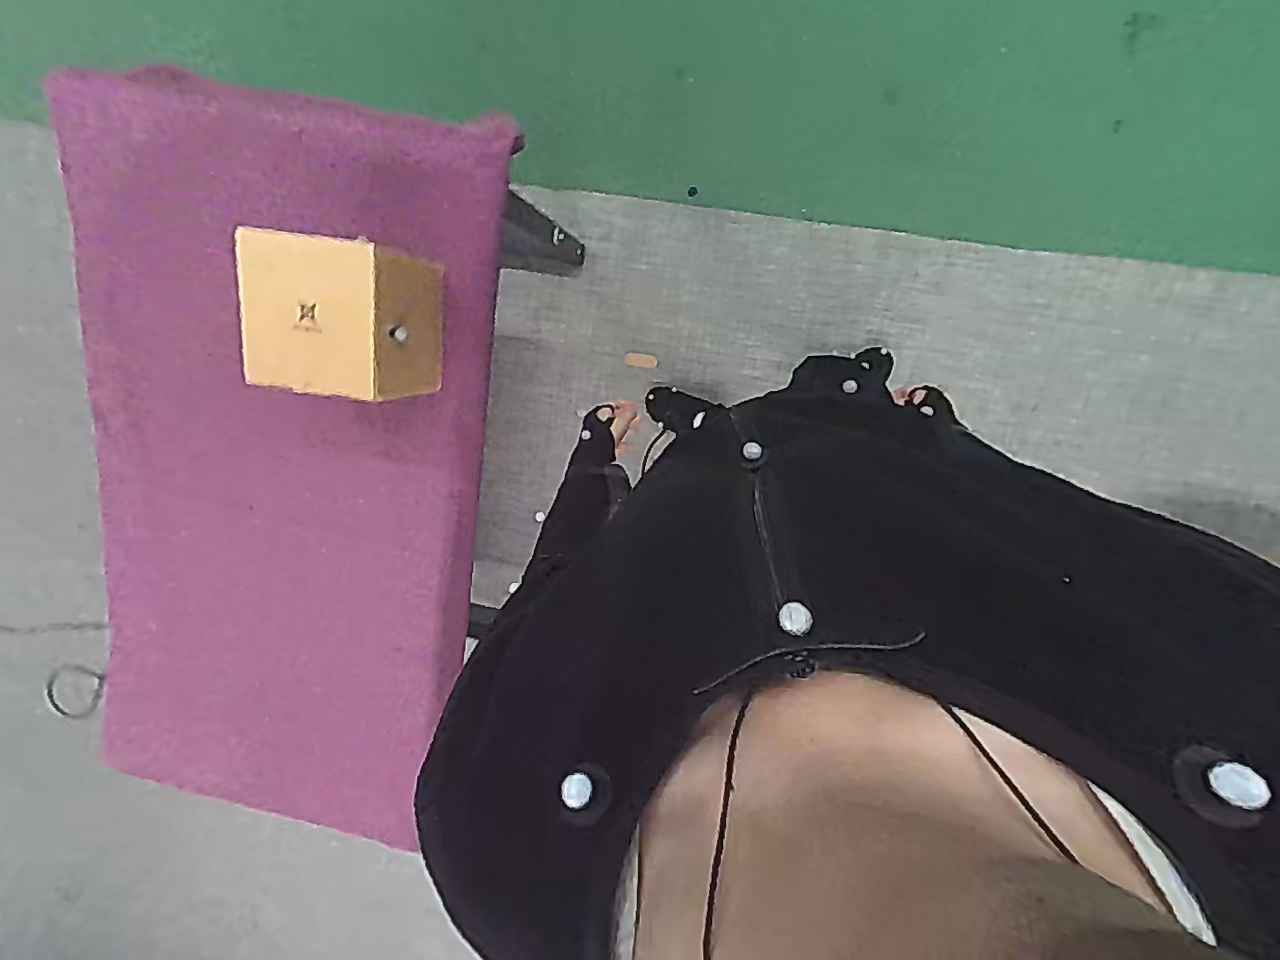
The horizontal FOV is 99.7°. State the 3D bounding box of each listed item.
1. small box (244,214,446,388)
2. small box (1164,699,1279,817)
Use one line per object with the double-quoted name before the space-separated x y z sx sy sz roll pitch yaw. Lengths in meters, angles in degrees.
"small box" -0.366 -0.225 0.700 0.168 0.176 0.179 9 107 5
"small box" 1.363 0.620 1.217 0.179 0.176 0.168 7 105 6
